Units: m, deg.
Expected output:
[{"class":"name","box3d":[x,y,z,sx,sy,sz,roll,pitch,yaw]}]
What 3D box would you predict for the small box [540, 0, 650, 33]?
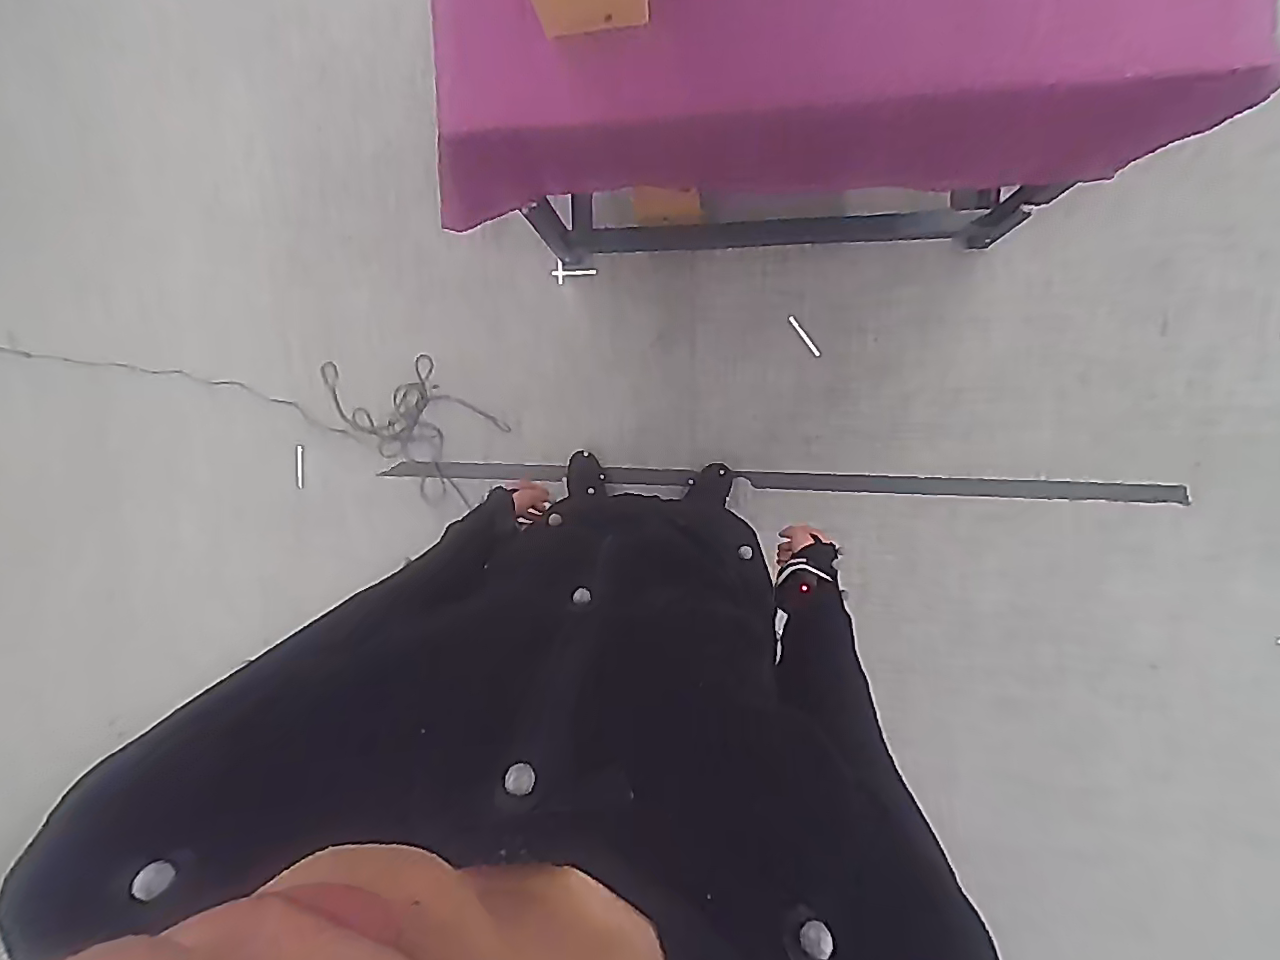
[{"class":"small box","box3d":[-0.076,-0.791,0.765,0.168,0.176,0.179,-1,93,7]}]
